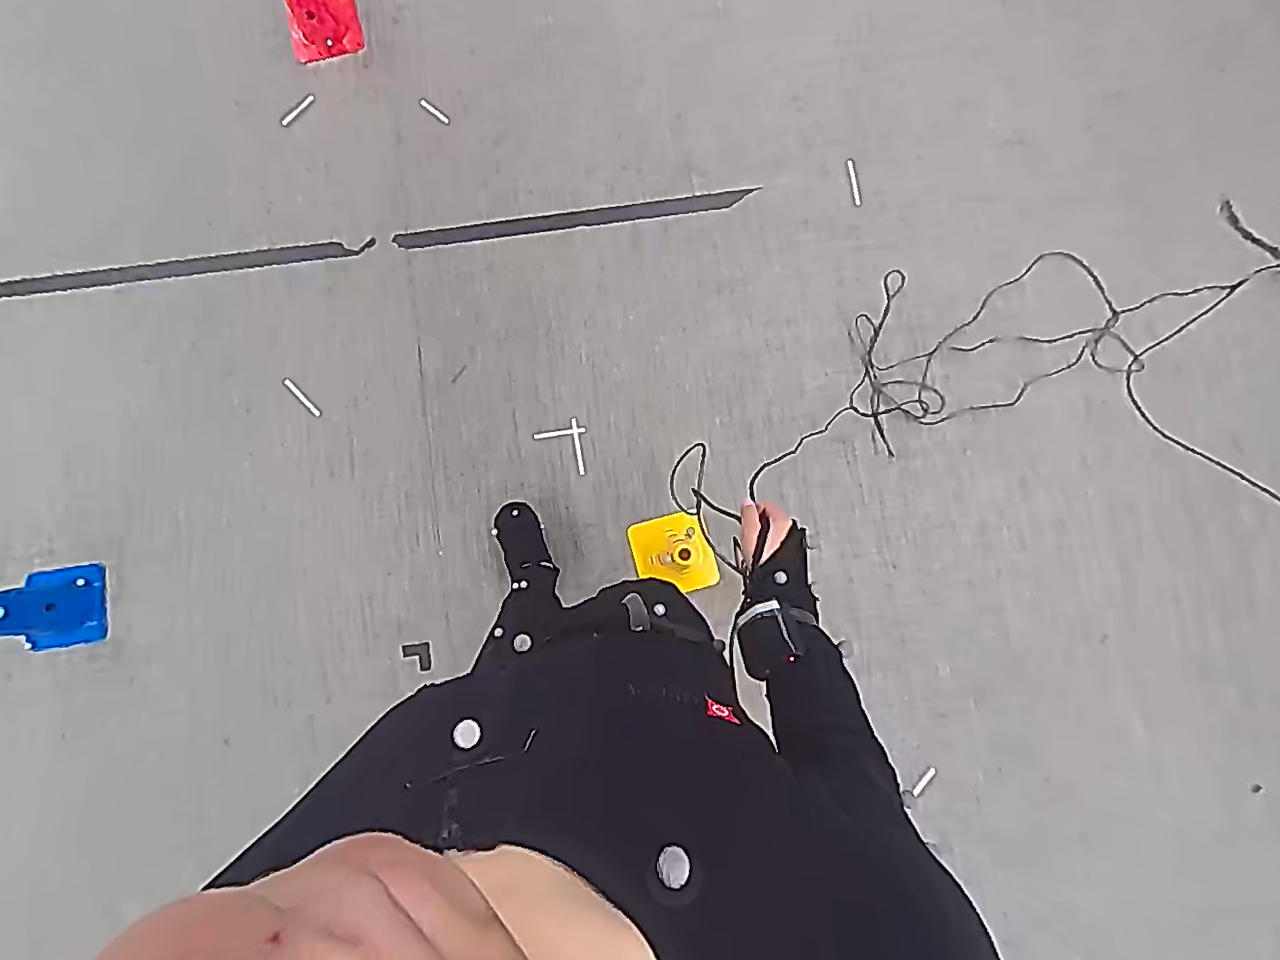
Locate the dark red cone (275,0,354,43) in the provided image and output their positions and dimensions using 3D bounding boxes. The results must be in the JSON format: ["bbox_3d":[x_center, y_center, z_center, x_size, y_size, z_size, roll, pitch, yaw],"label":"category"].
[{"bbox_3d":[-0.923,-1.357,1.370,0.202,0.394,0.201,-16,84,-2],"label":"dark red cone"}]

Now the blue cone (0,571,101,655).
[{"bbox_3d":[-1.450,0.313,1.191,0.193,0.380,0.192,-7,84,-1],"label":"blue cone"}]
